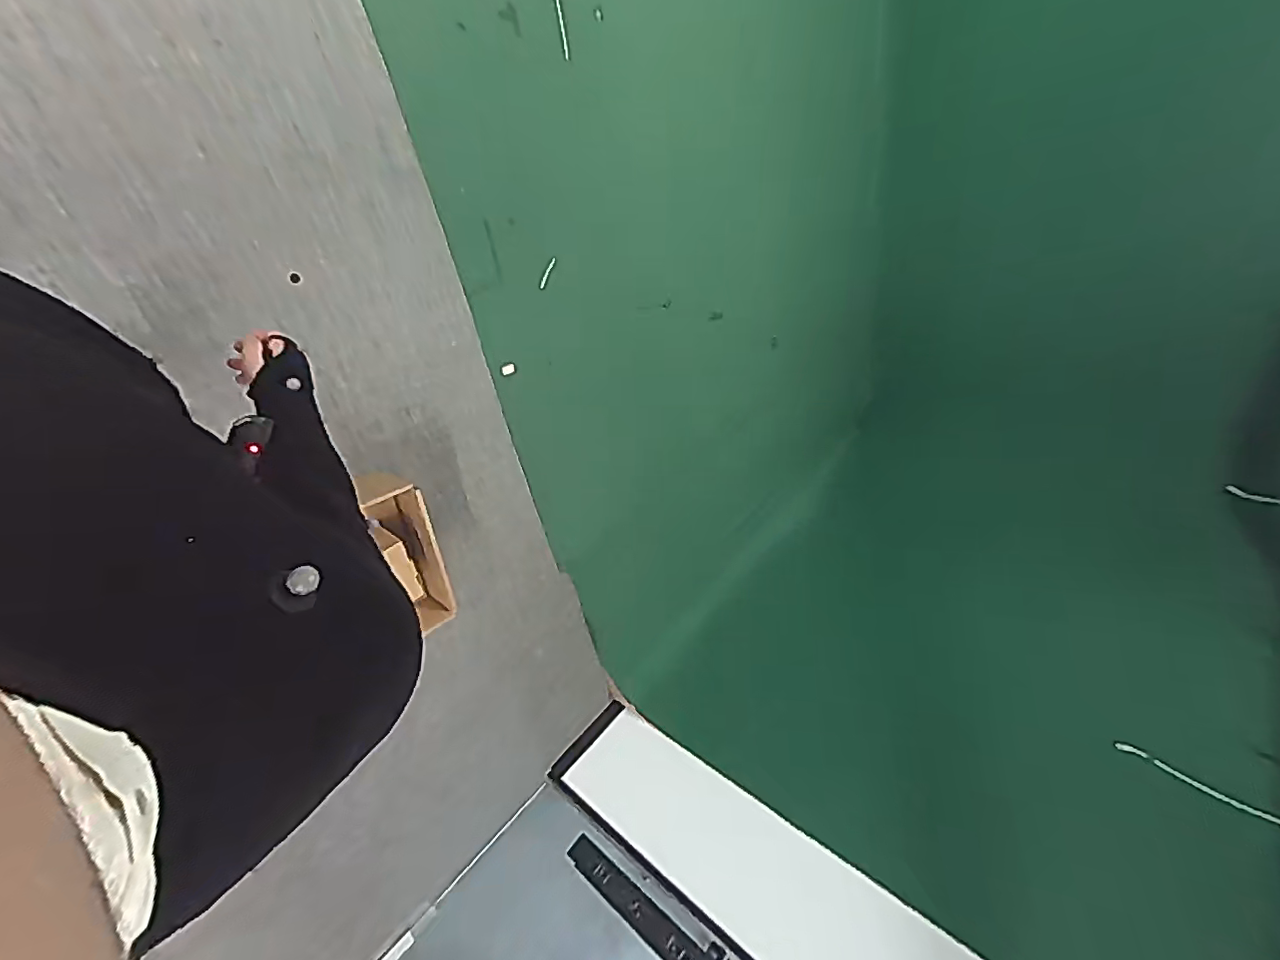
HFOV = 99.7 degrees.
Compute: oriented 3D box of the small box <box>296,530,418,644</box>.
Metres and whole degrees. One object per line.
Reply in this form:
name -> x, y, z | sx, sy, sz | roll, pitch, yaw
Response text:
small box -> -0.662, 0.240, 1.269 | 0.179, 0.176, 0.168 | -33, 127, -38
